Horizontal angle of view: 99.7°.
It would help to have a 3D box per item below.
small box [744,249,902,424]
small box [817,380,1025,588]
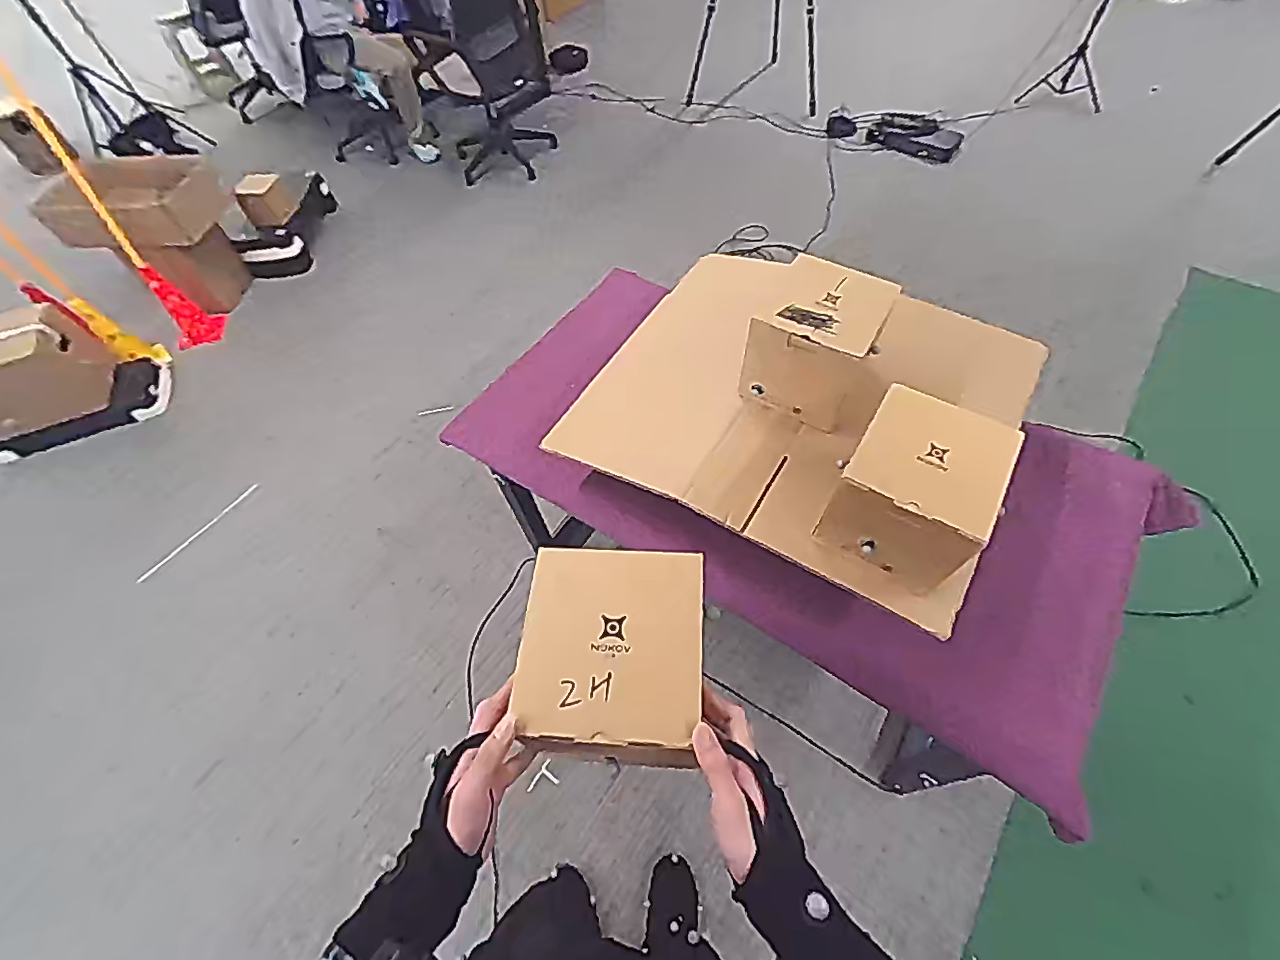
[{"bbox_3d":[0.274,-0.219,0.848,0.168,0.176,0.179,28,63,17],"label":"small box"},{"bbox_3d":[0.353,0.010,0.708,0.168,0.176,0.179,28,65,18],"label":"small box"}]
